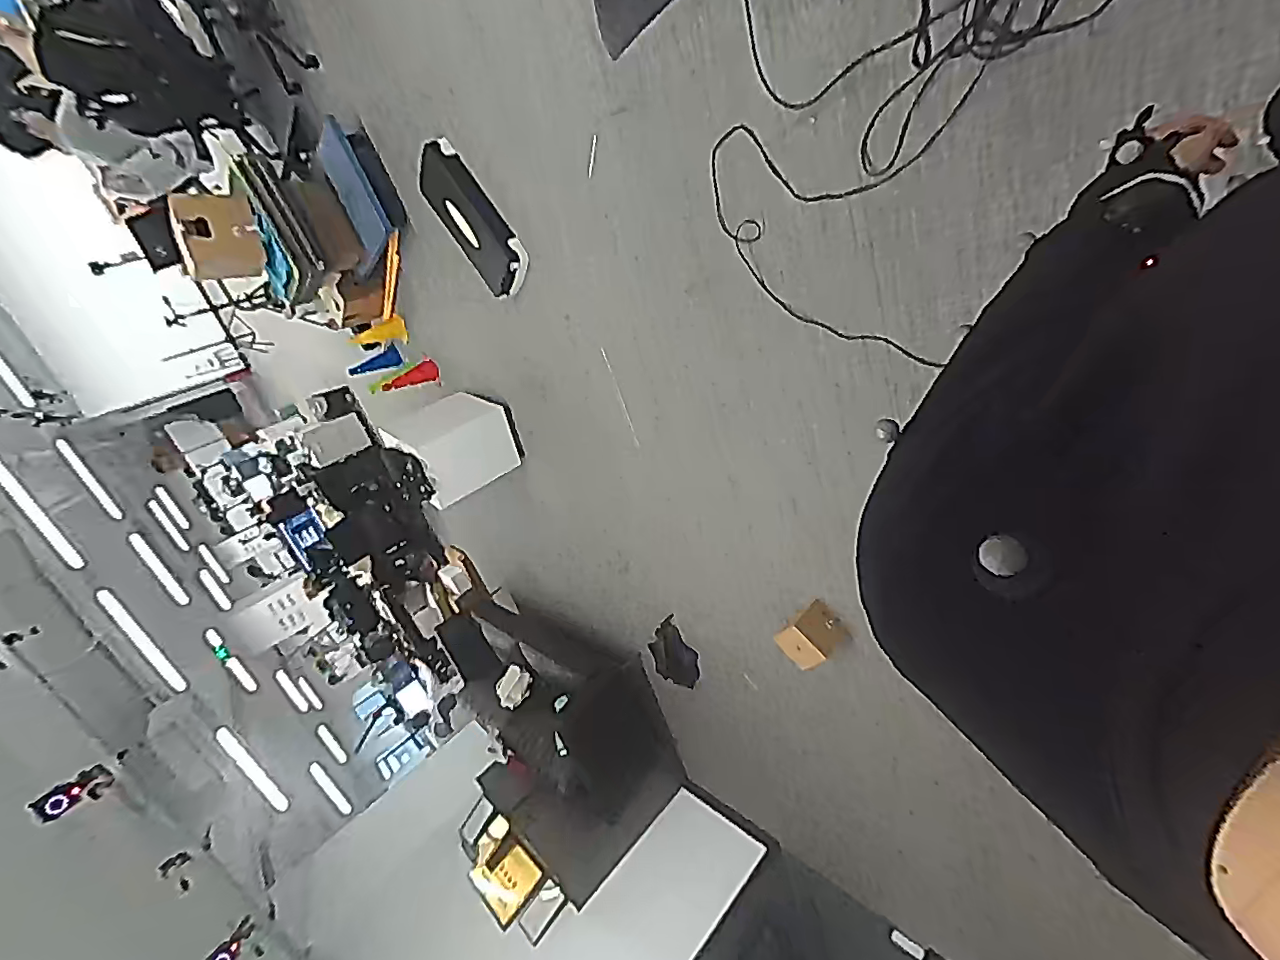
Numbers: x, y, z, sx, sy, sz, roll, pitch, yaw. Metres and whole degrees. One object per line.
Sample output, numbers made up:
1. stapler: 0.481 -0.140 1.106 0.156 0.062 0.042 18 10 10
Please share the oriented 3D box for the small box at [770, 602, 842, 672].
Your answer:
1. small box: 0.643 0.602 2.083 0.168 0.176 0.179 45 145 14
